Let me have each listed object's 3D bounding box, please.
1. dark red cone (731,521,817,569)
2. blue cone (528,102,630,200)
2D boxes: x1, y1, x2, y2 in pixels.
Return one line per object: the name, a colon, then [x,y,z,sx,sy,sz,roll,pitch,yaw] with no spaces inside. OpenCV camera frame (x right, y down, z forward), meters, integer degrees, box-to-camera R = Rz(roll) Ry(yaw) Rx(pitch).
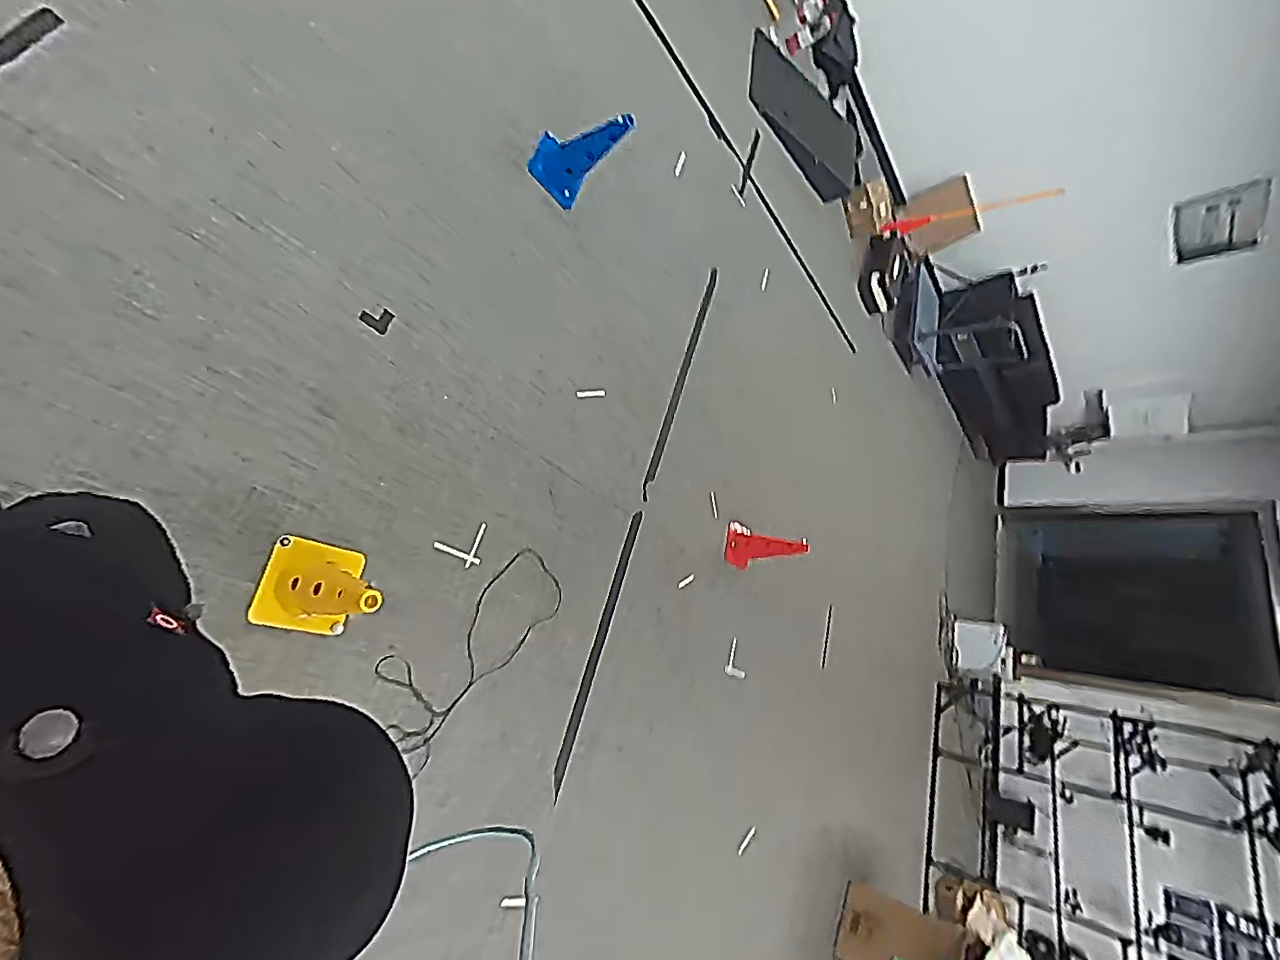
dark red cone: [0.618,0.304,2.469,0.201,0.394,0.202,27,68,-42]
blue cone: [-0.171,-1.096,1.750,0.192,0.380,0.193,37,61,-39]
